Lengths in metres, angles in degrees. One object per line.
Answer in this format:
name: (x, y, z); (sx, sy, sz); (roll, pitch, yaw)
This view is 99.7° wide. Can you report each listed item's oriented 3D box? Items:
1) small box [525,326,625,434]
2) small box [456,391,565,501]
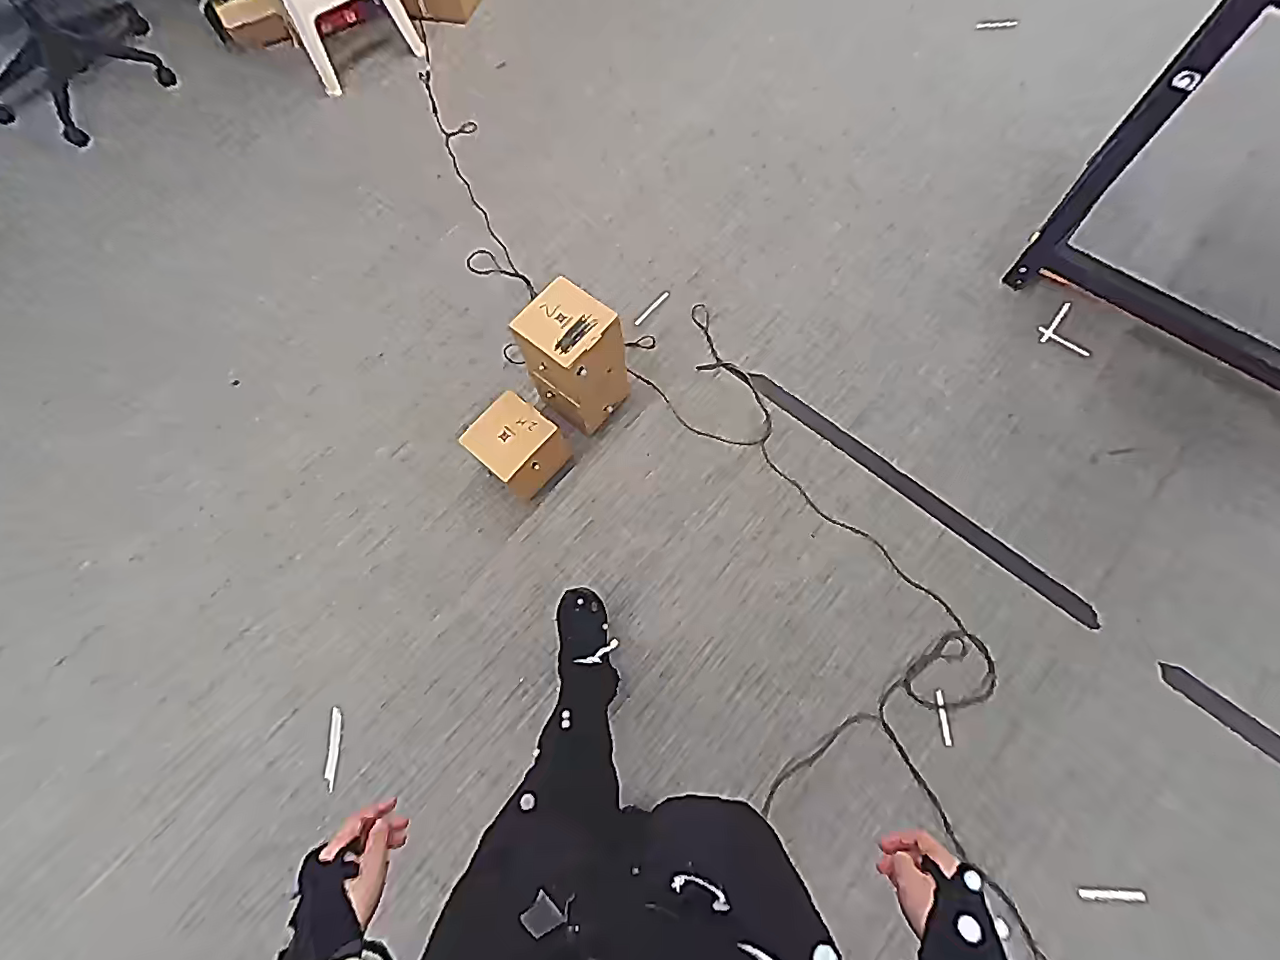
small box: (-0.157, -0.245, 1.365); (0.179, 0.176, 0.168); (38, 77, 14)
small box: (-0.304, -0.074, 1.312); (0.168, 0.176, 0.179); (39, 77, 15)
